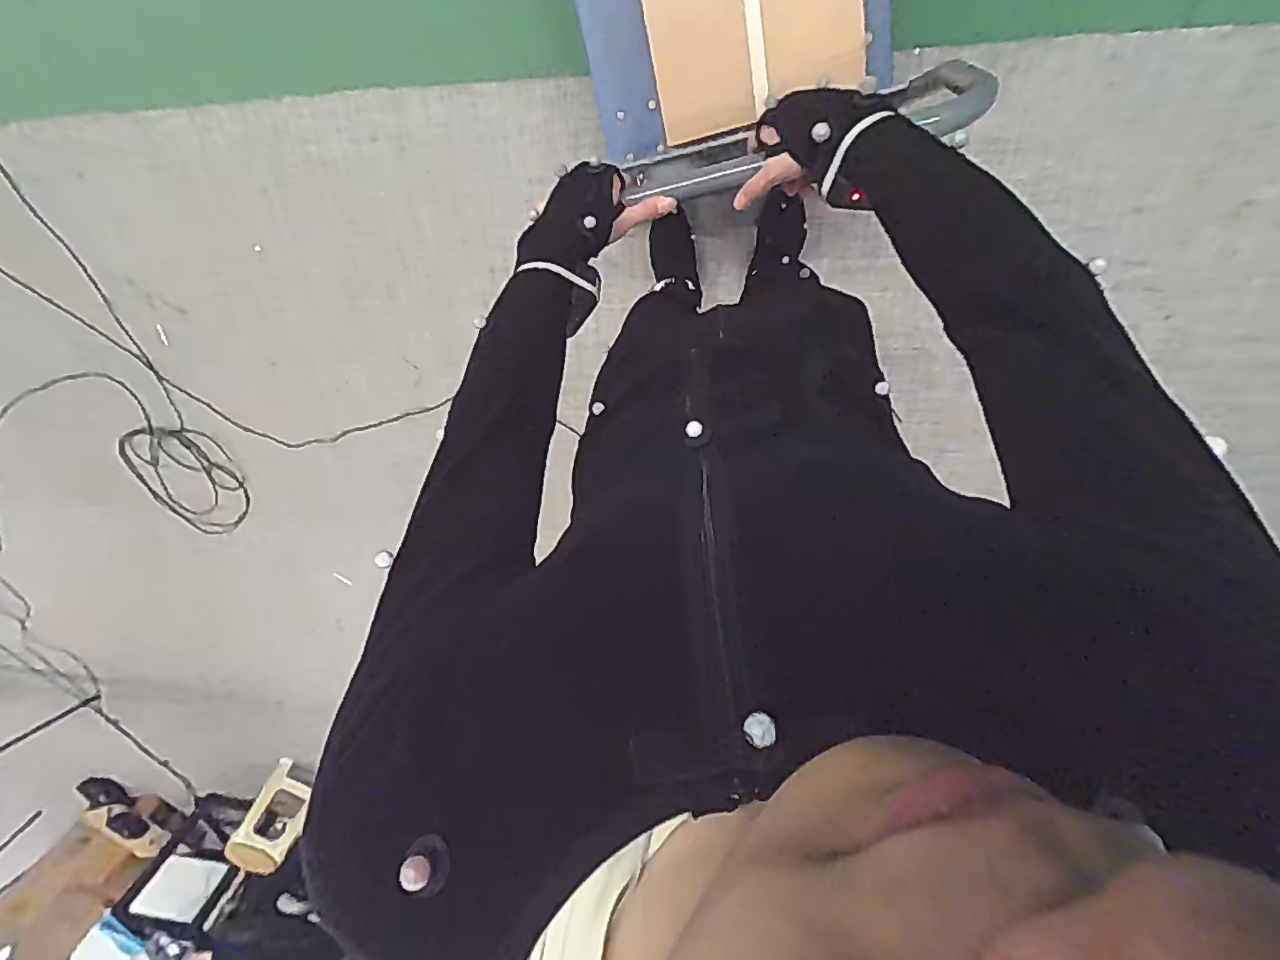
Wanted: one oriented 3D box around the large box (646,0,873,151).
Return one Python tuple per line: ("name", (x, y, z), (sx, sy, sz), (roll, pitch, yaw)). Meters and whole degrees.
("large box", (0.183, -0.811, 0.889), (0.320, 0.320, 0.408), (-7, 118, 15))
